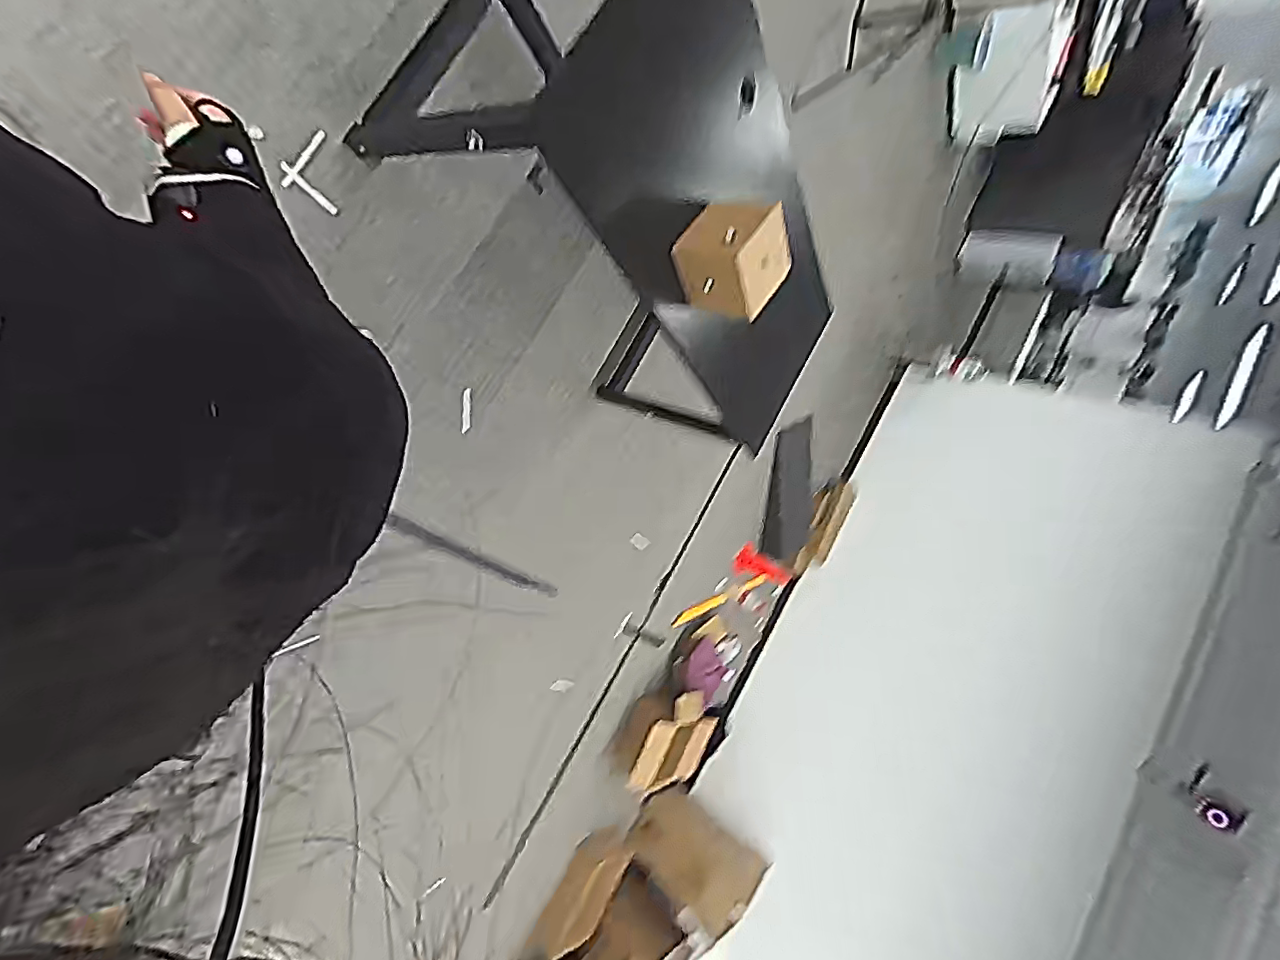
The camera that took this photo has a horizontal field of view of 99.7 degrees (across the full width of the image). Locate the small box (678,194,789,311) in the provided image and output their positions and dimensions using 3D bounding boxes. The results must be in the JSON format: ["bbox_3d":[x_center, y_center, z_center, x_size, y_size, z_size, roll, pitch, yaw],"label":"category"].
[{"bbox_3d":[0.201,-0.500,1.189,0.179,0.176,0.168,-55,143,-18],"label":"small box"}]
